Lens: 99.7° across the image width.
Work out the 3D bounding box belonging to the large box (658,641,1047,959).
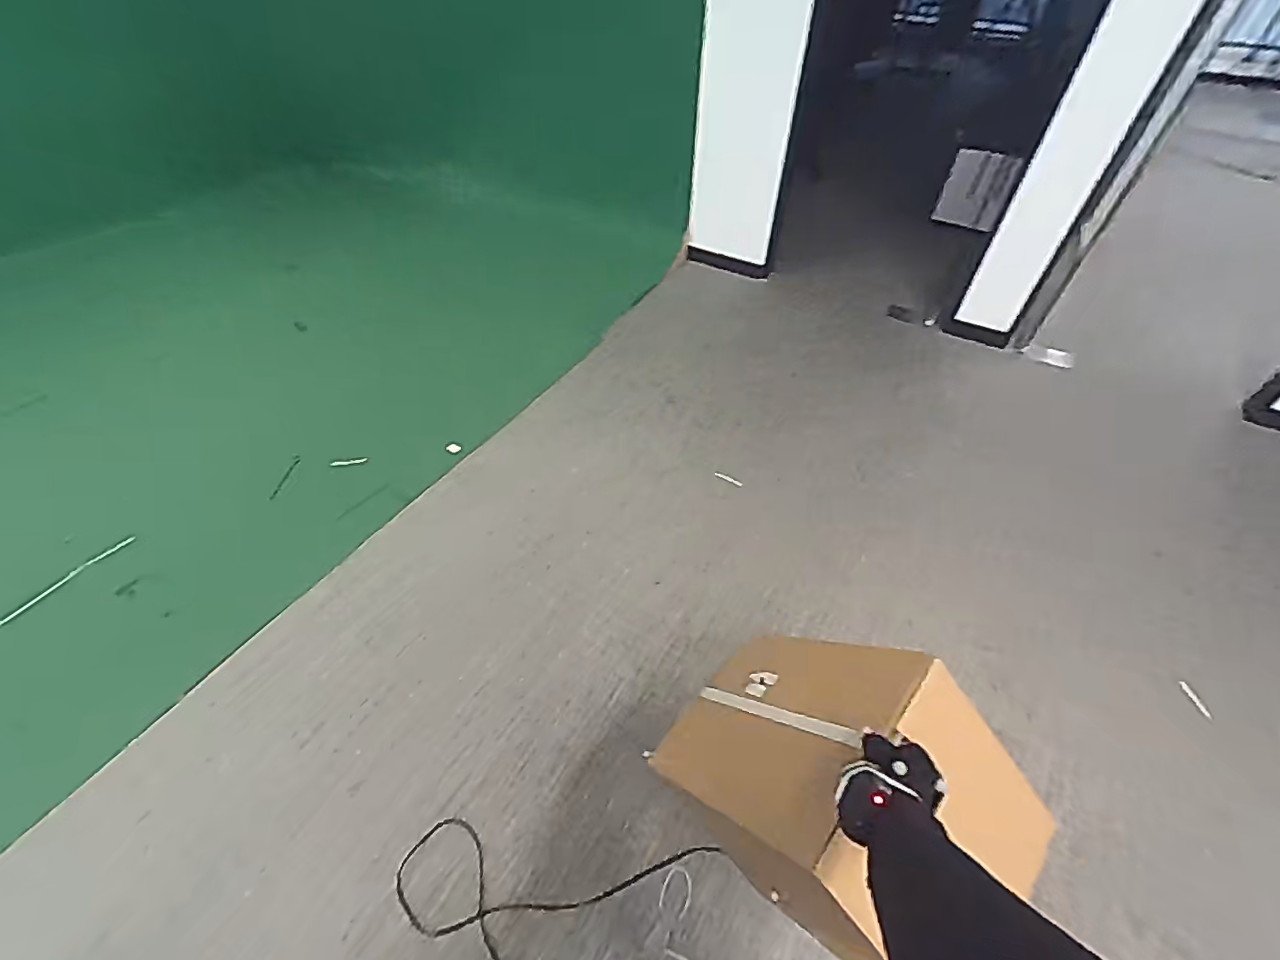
[{"bbox_3d":[0.306,0.485,0.846,0.320,0.408,0.320,-41,97,-27],"label":"large box"}]
